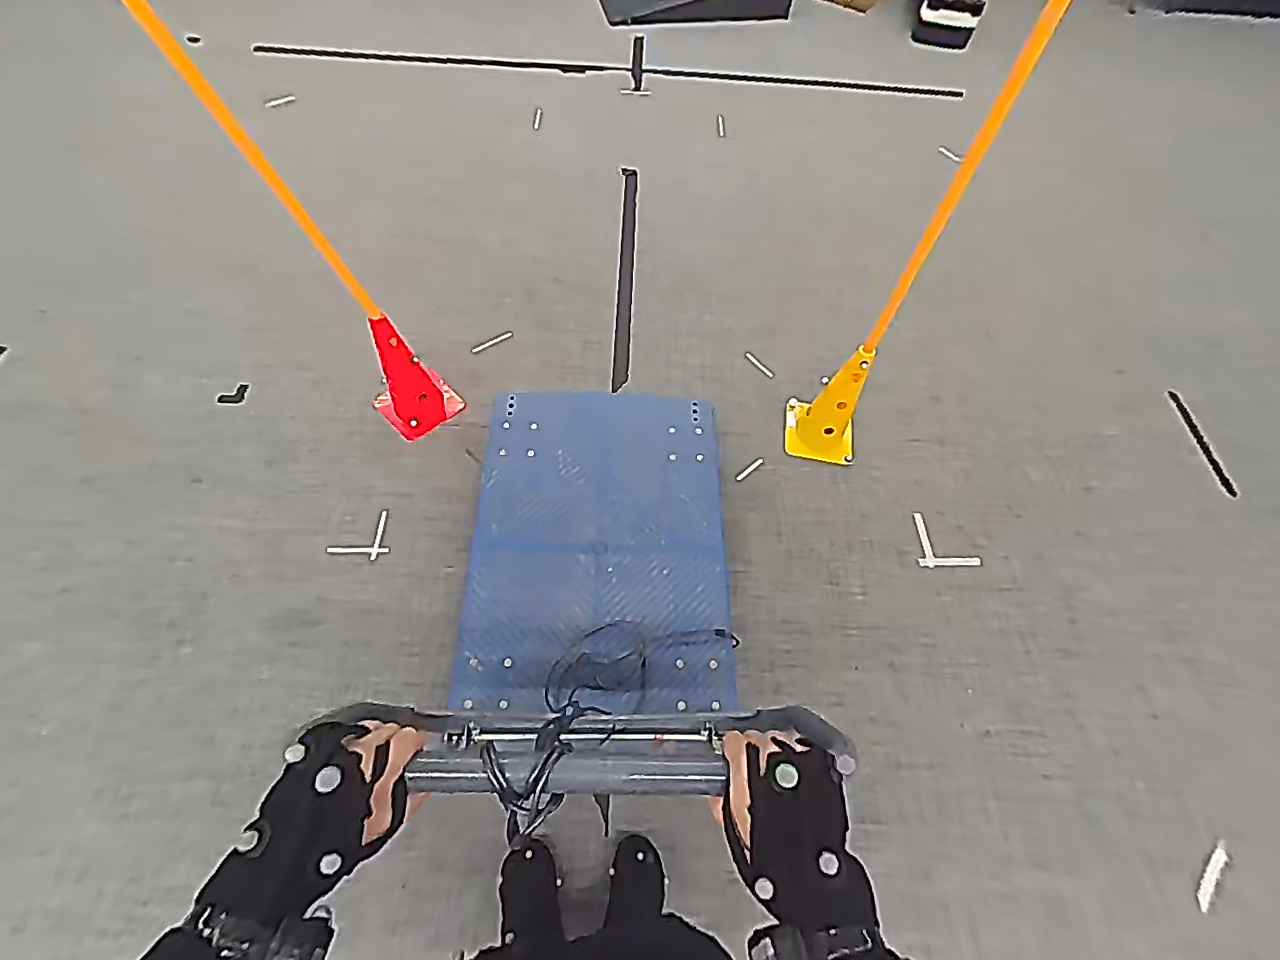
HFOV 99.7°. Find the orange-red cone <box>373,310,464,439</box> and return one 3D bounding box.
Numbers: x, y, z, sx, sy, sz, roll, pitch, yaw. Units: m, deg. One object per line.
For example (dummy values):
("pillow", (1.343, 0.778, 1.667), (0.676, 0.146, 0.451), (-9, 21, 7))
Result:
("orange-red cone", (-0.631, -0.308, 1.438), (0.199, 0.360, 0.198), (-39, 71, -23))
